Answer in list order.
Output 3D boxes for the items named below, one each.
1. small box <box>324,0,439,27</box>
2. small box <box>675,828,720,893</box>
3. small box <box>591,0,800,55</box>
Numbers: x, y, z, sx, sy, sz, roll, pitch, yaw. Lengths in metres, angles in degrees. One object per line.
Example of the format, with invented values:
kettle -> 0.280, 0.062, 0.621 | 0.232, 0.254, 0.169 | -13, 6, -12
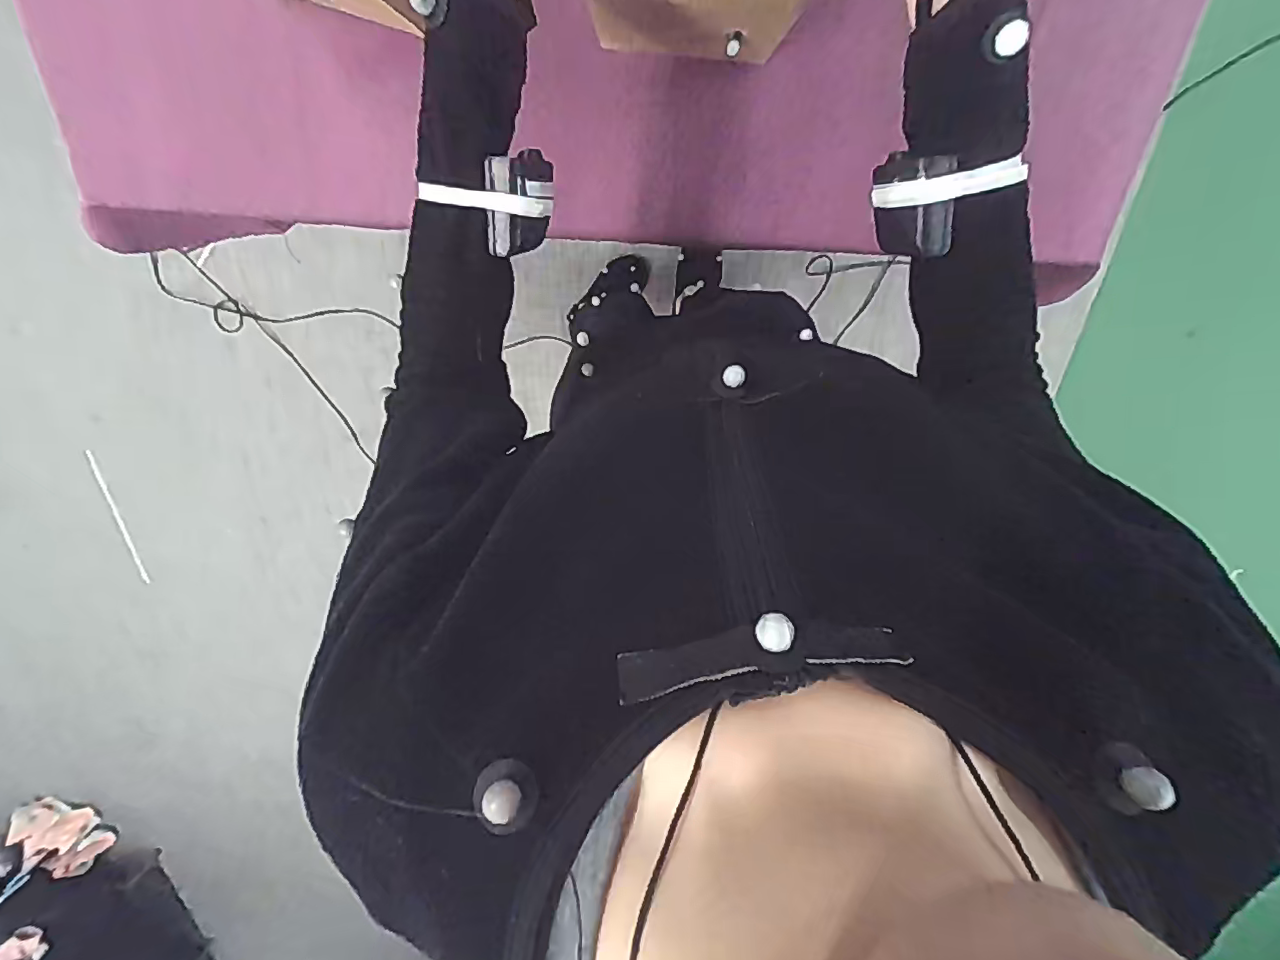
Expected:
small box -> -0.281, -0.528, 0.459 | 0.179, 0.176, 0.168 | 13, 115, -5
small box -> 0.236, 1.588, 2.260 | 0.179, 0.176, 0.168 | -1, 115, 1
small box -> 0.051, -0.494, 0.466 | 0.179, 0.176, 0.168 | 5, 114, -1
